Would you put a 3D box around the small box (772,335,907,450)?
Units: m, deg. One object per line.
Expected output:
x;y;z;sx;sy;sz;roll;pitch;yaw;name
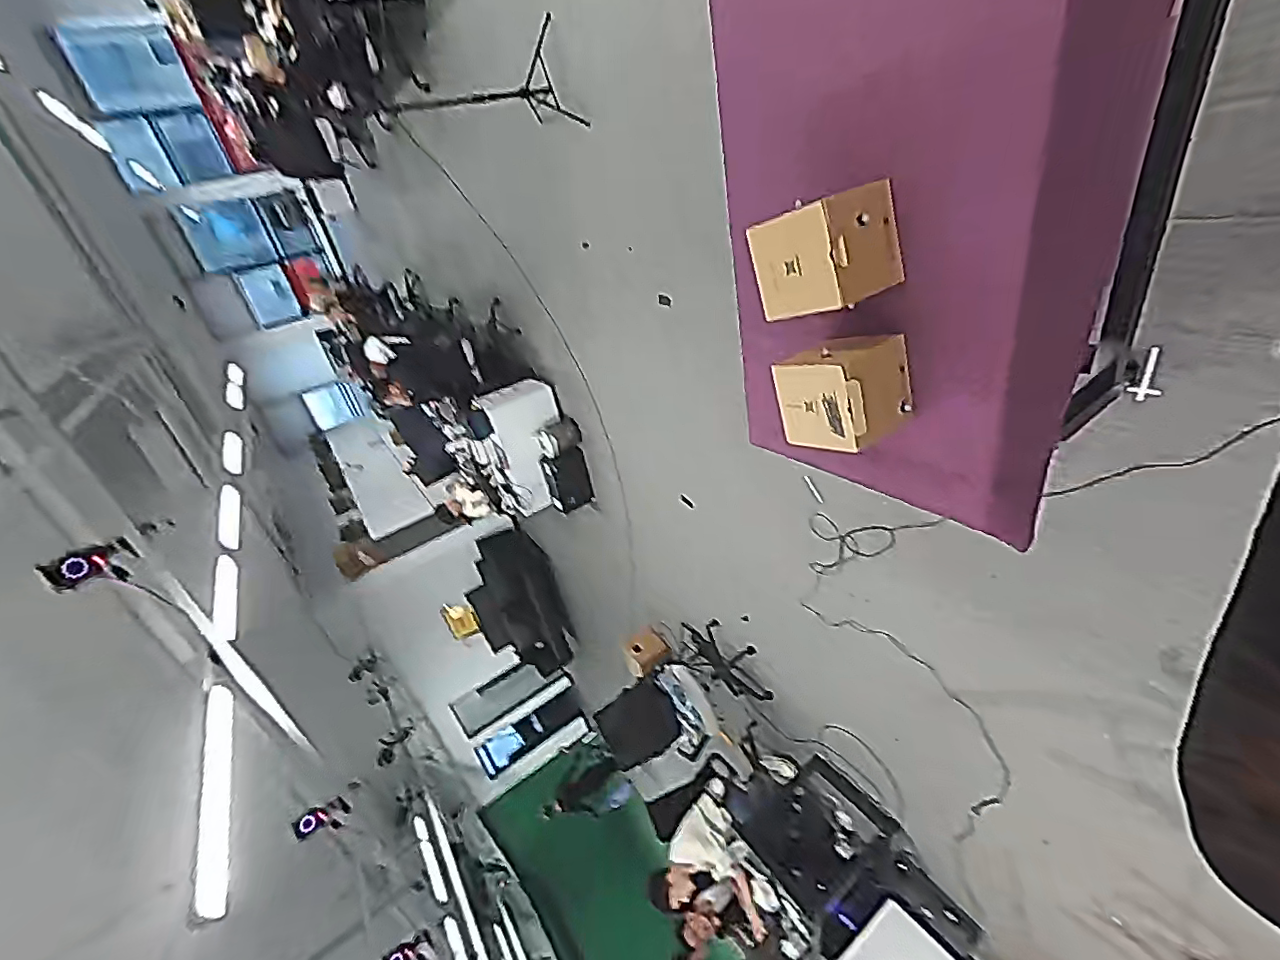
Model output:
0.389;-0.171;1.038;0.179;0.176;0.168;17;129;58;small box

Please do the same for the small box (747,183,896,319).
0.323;-0.395;0.945;0.179;0.176;0.168;15;127;59;small box
